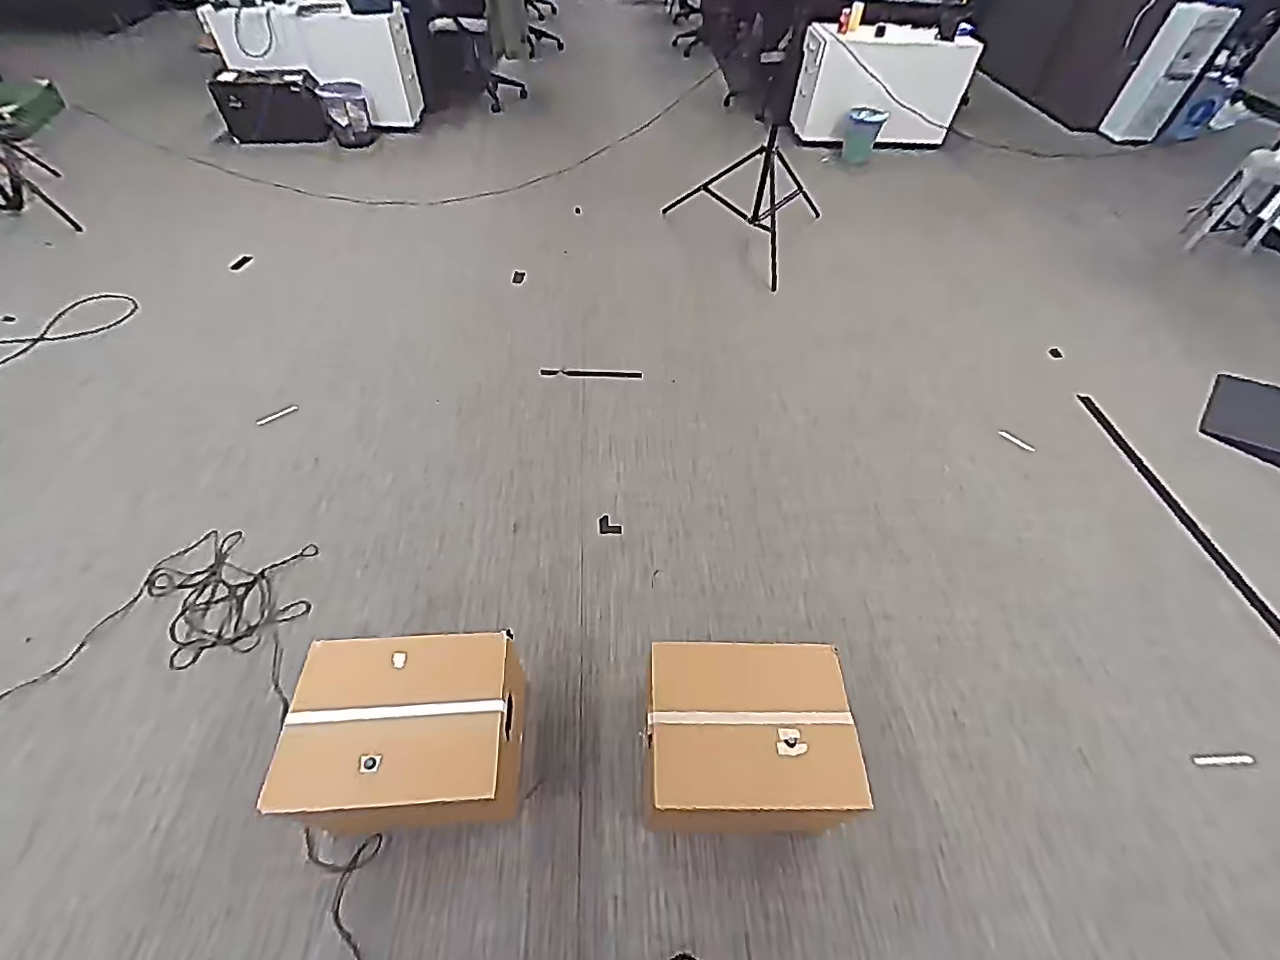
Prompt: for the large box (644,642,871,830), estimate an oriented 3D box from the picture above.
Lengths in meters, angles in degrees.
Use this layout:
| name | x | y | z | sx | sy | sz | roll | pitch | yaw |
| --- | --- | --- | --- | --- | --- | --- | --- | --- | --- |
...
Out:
| name | x | y | z | sx | sy | sz | roll | pitch | yaw |
| --- | --- | --- | --- | --- | --- | --- | --- | --- | --- |
| large box | 0.220 | 0.569 | 1.197 | 0.408 | 0.320 | 0.320 | 2 | 51 | -3 |
